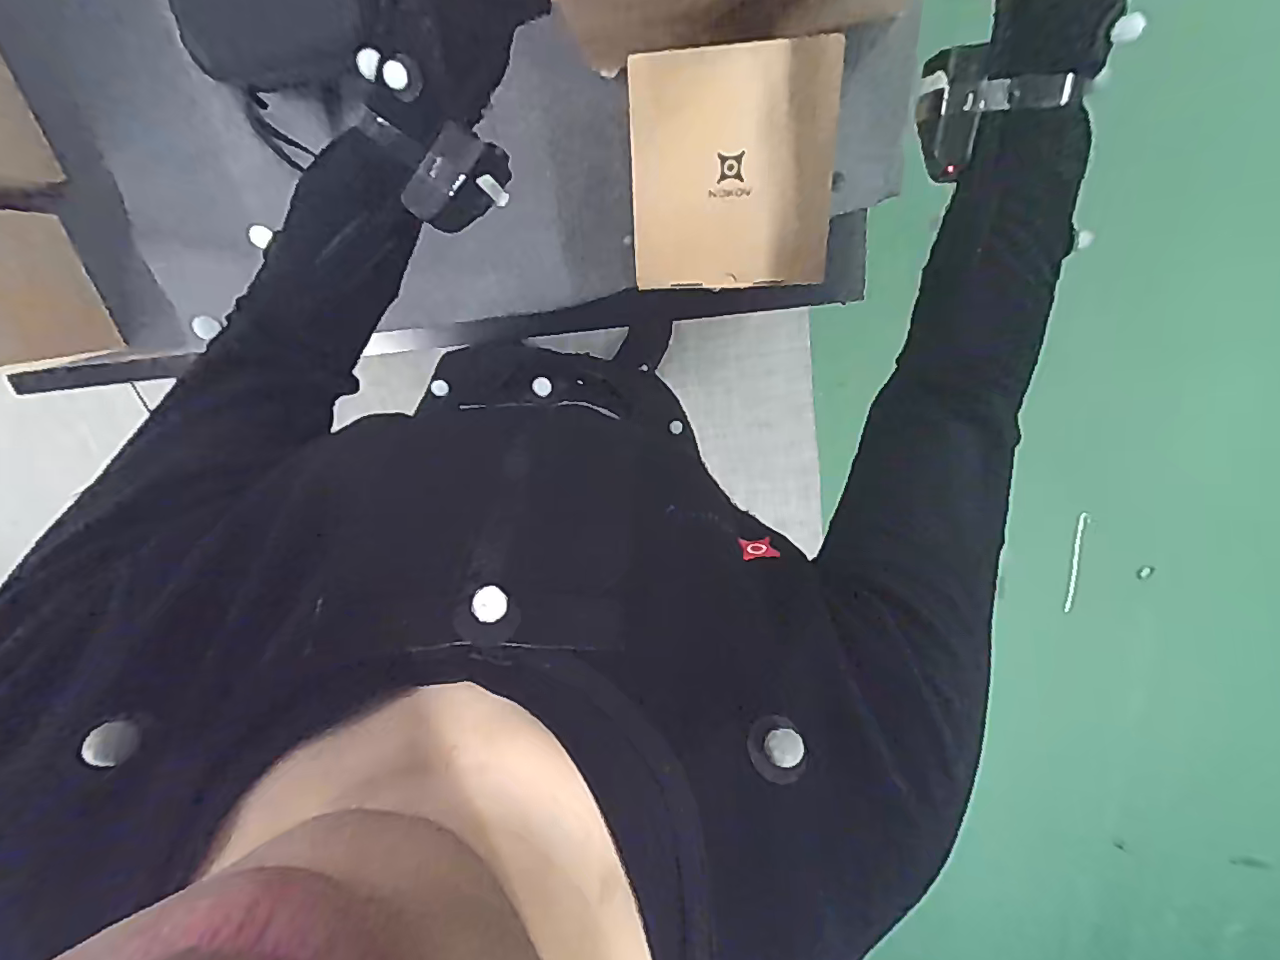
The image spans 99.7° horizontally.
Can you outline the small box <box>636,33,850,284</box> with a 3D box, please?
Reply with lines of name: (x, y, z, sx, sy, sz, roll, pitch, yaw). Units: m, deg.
small box: (0.089, -0.288, 0.517, 0.168, 0.176, 0.179, 1, 115, 9)
